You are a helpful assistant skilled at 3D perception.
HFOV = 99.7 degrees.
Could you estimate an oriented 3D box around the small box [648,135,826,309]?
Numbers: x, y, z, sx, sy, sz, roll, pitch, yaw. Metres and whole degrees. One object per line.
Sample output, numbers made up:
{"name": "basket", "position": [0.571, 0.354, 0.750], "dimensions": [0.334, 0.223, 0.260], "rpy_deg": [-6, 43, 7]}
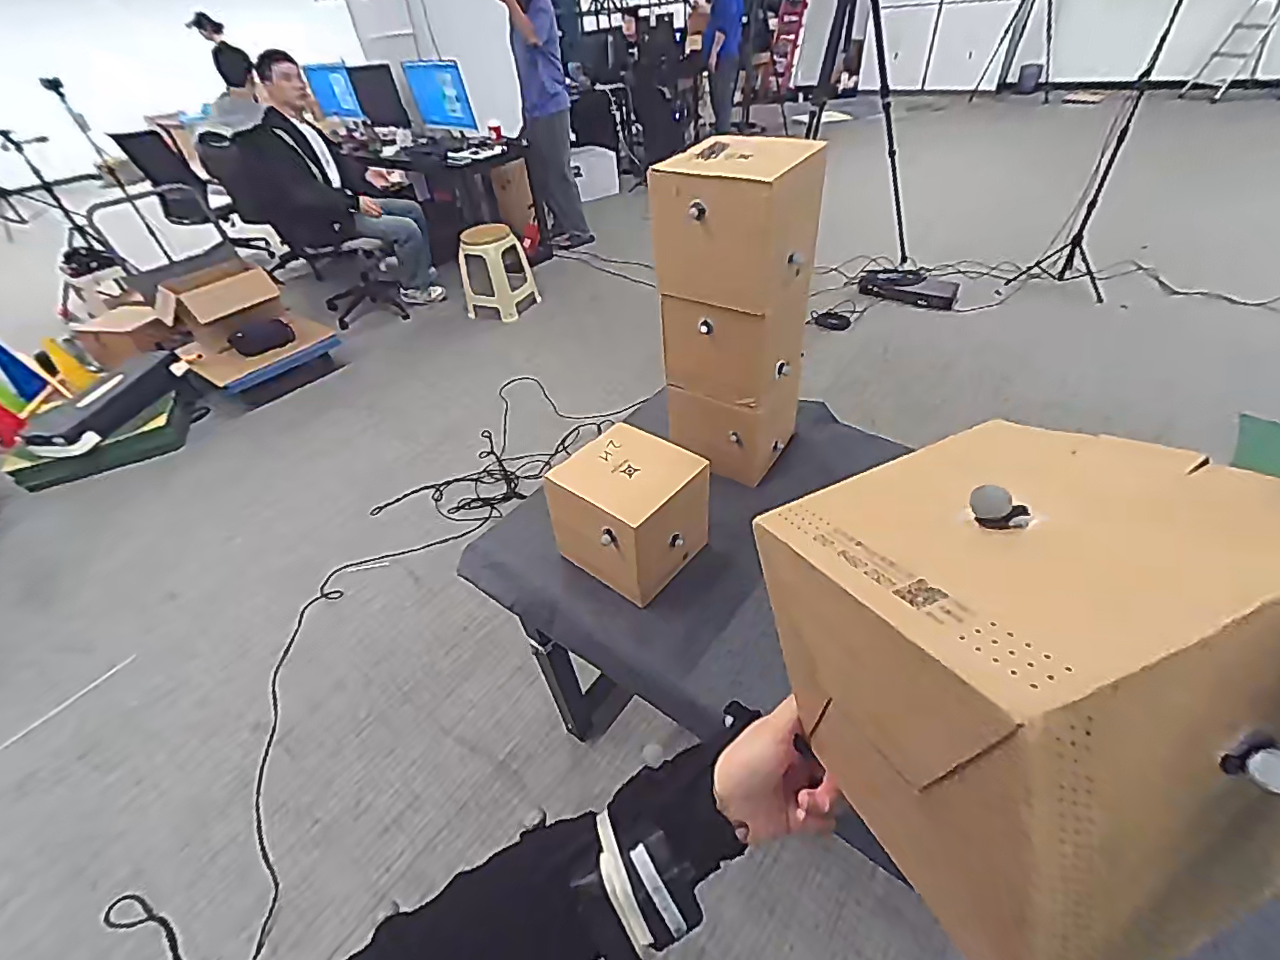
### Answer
{"name": "small box", "position": [0.131, -0.357, 0.747], "dimensions": [0.179, 0.176, 0.168], "rpy_deg": [24, 53, 28]}

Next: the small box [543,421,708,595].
{"name": "small box", "position": [-0.015, 0.044, 0.809], "dimensions": [0.179, 0.176, 0.168], "rpy_deg": [27, 49, 31]}

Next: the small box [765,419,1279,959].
{"name": "small box", "position": [0.182, 0.091, 0.268], "dimensions": [0.176, 0.179, 0.168], "rpy_deg": [-21, 22, -9]}

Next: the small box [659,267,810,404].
{"name": "small box", "position": [0.150, -0.245, 0.866], "dimensions": [0.179, 0.176, 0.168], "rpy_deg": [22, 52, 26]}
